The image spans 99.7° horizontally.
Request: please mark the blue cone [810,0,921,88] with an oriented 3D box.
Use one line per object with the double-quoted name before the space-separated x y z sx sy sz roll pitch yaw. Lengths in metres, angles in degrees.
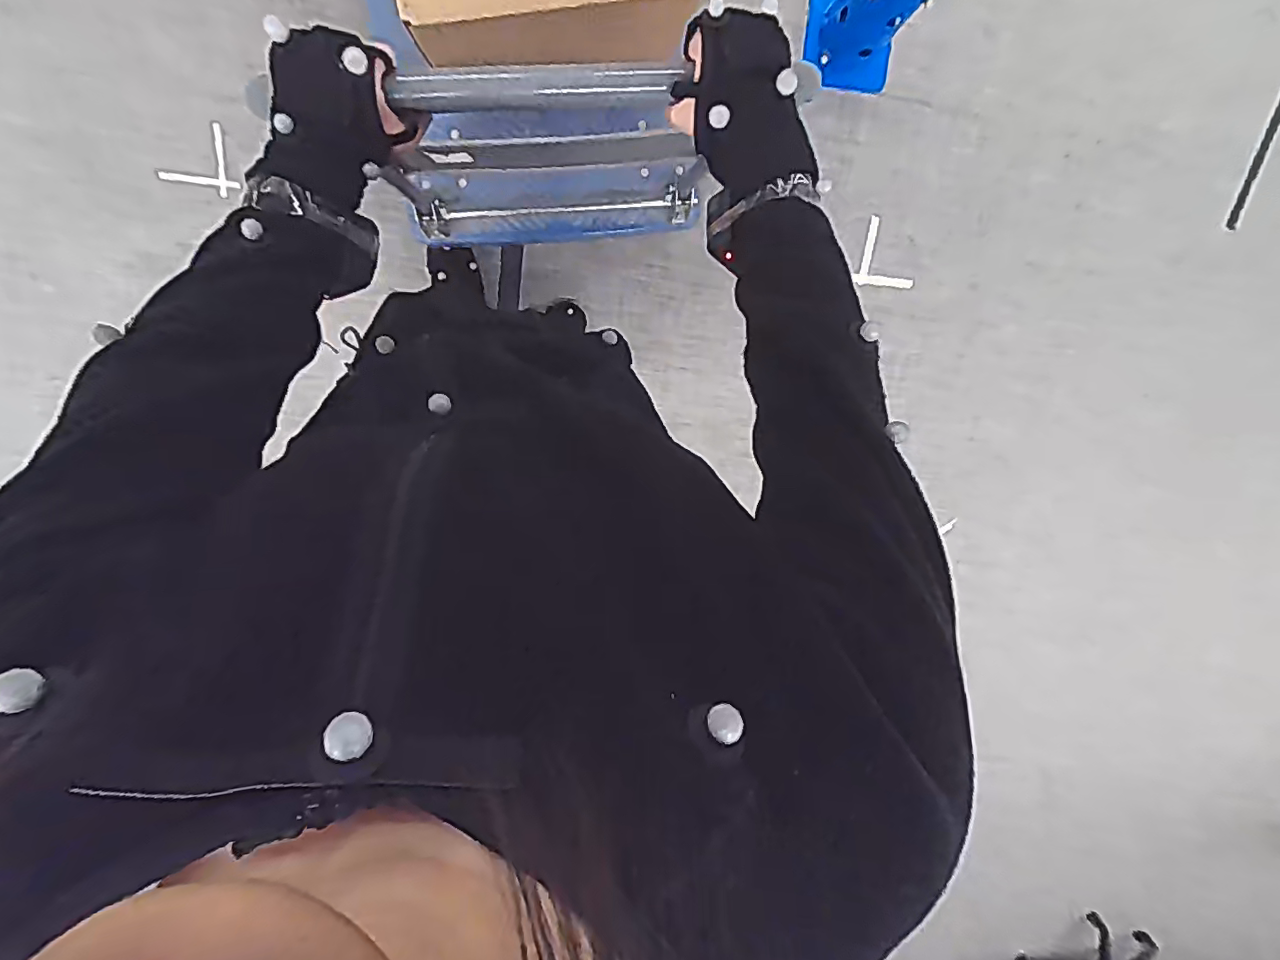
"blue cone" 0.487 -0.919 1.025 0.193 0.380 0.192 1 109 -8
